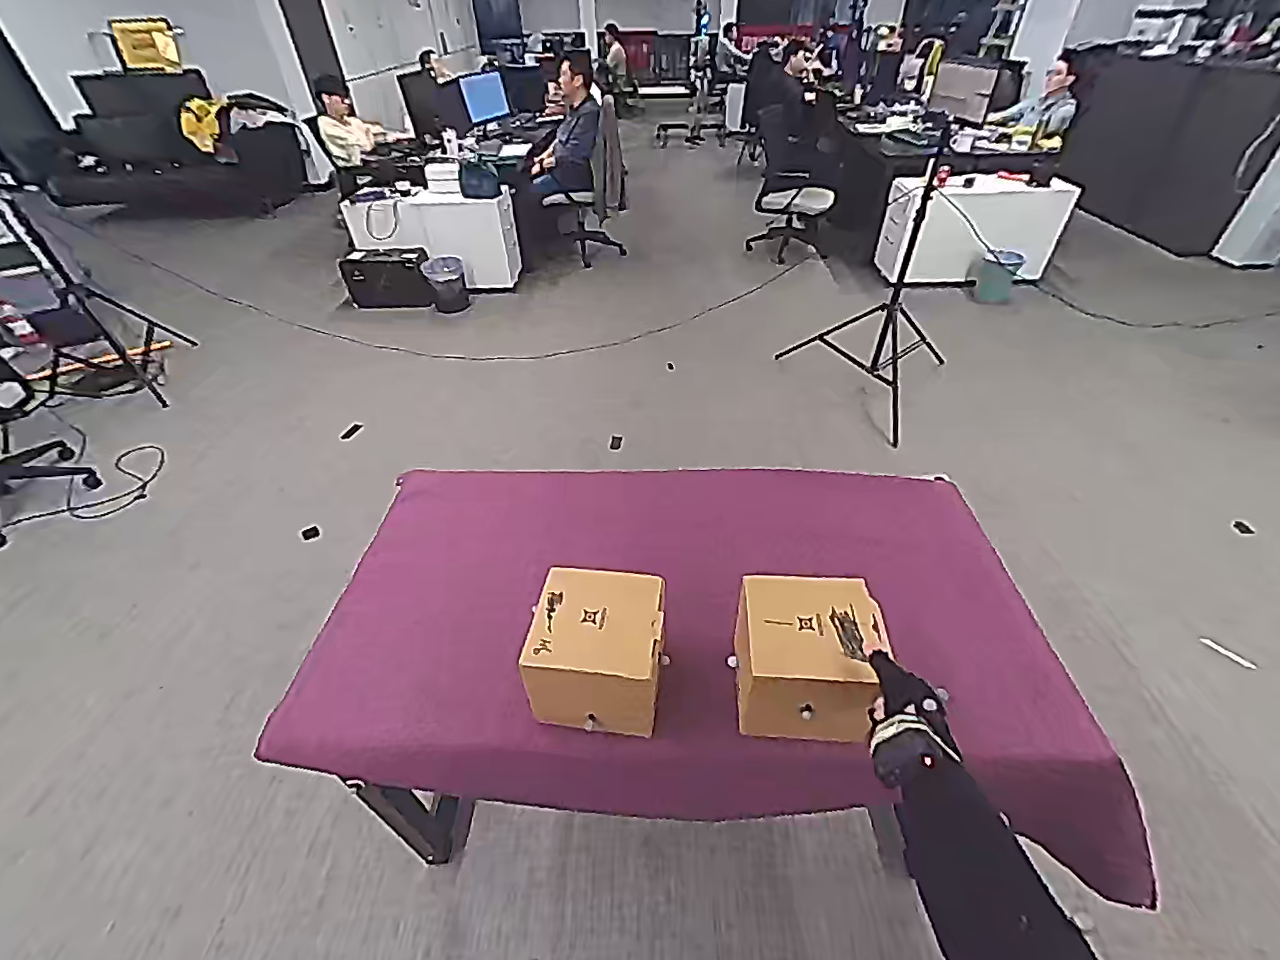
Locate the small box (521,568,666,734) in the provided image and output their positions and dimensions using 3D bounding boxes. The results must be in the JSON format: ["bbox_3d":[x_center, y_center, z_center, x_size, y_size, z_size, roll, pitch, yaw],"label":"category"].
[{"bbox_3d":[-0.058,0.256,0.804,0.179,0.176,0.168,5,41,7],"label":"small box"}]

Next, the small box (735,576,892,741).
[{"bbox_3d":[0.236,0.260,0.787,0.179,0.176,0.168,2,40,5],"label":"small box"}]
